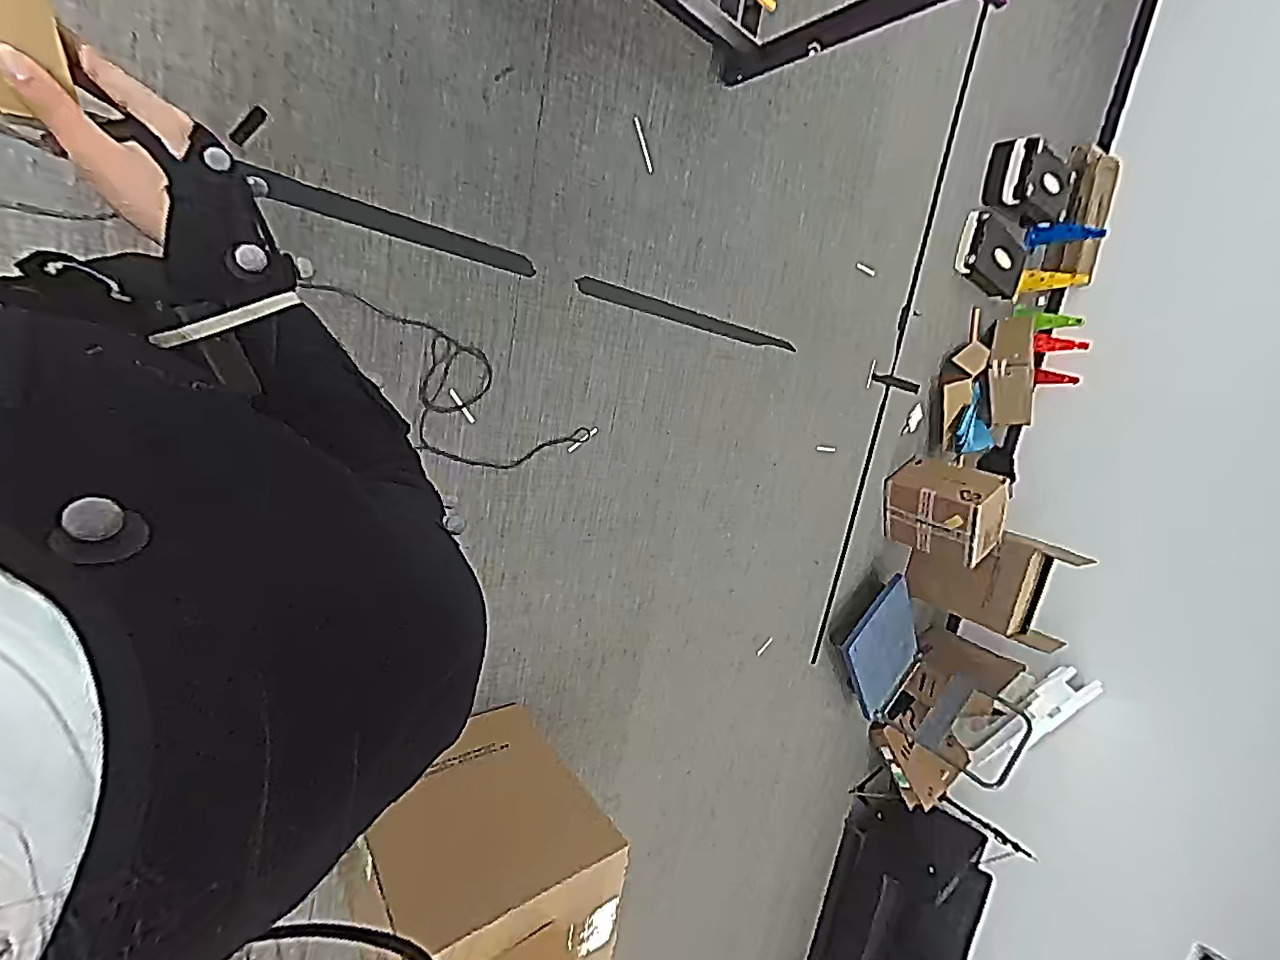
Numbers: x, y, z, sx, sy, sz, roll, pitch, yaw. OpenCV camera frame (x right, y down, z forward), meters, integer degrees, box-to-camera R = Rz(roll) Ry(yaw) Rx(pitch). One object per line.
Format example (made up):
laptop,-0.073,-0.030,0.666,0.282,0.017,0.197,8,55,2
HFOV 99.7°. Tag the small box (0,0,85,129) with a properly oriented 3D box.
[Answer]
small box,-0.396,-0.280,0.247,0.168,0.176,0.179,-18,126,-43
